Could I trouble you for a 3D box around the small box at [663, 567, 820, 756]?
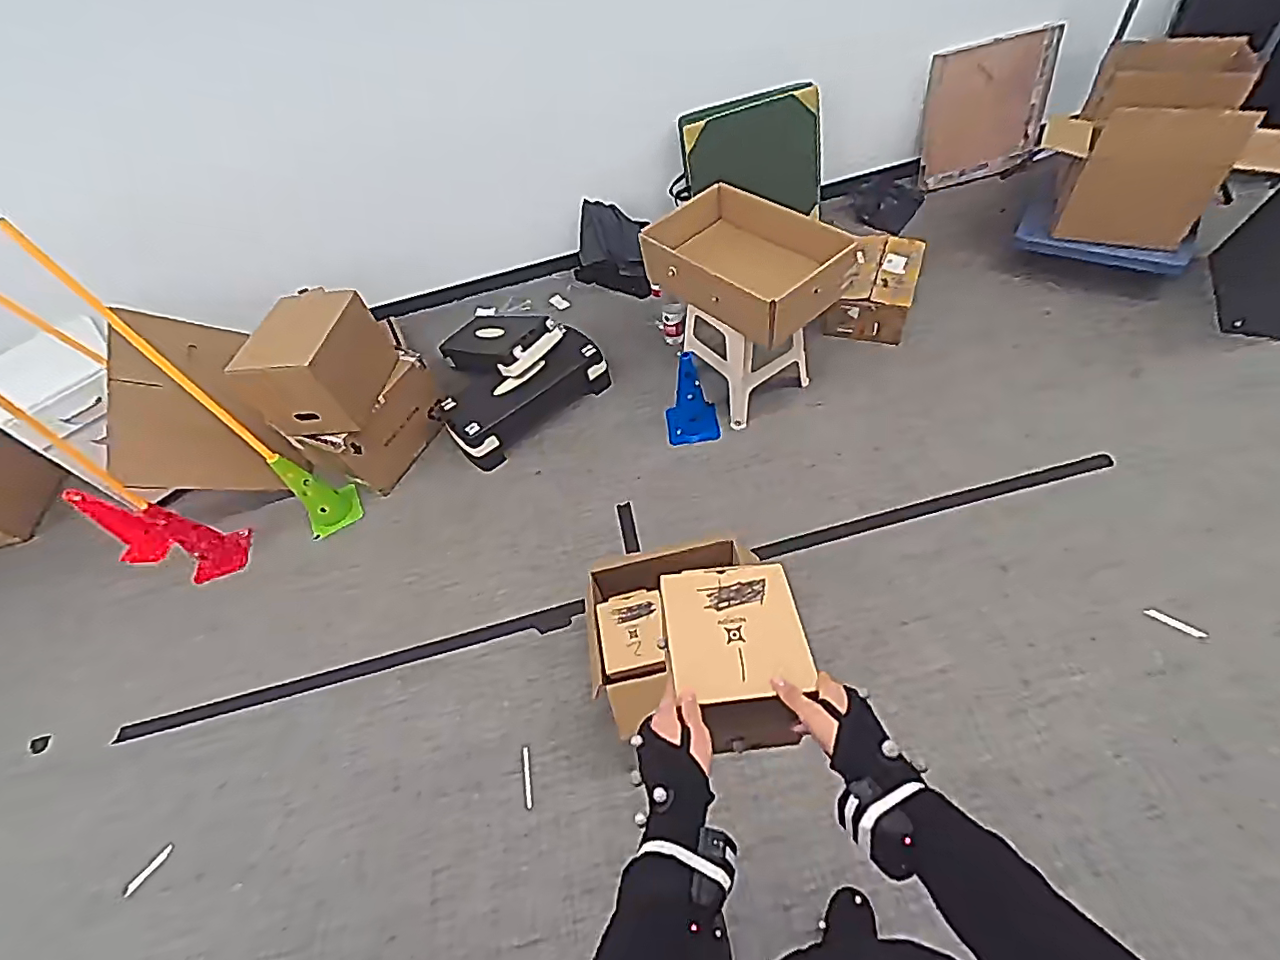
[{"bbox_3d":[0.120,0.242,0.724,0.168,0.176,0.179,-6,45,-1],"label":"small box"}]
